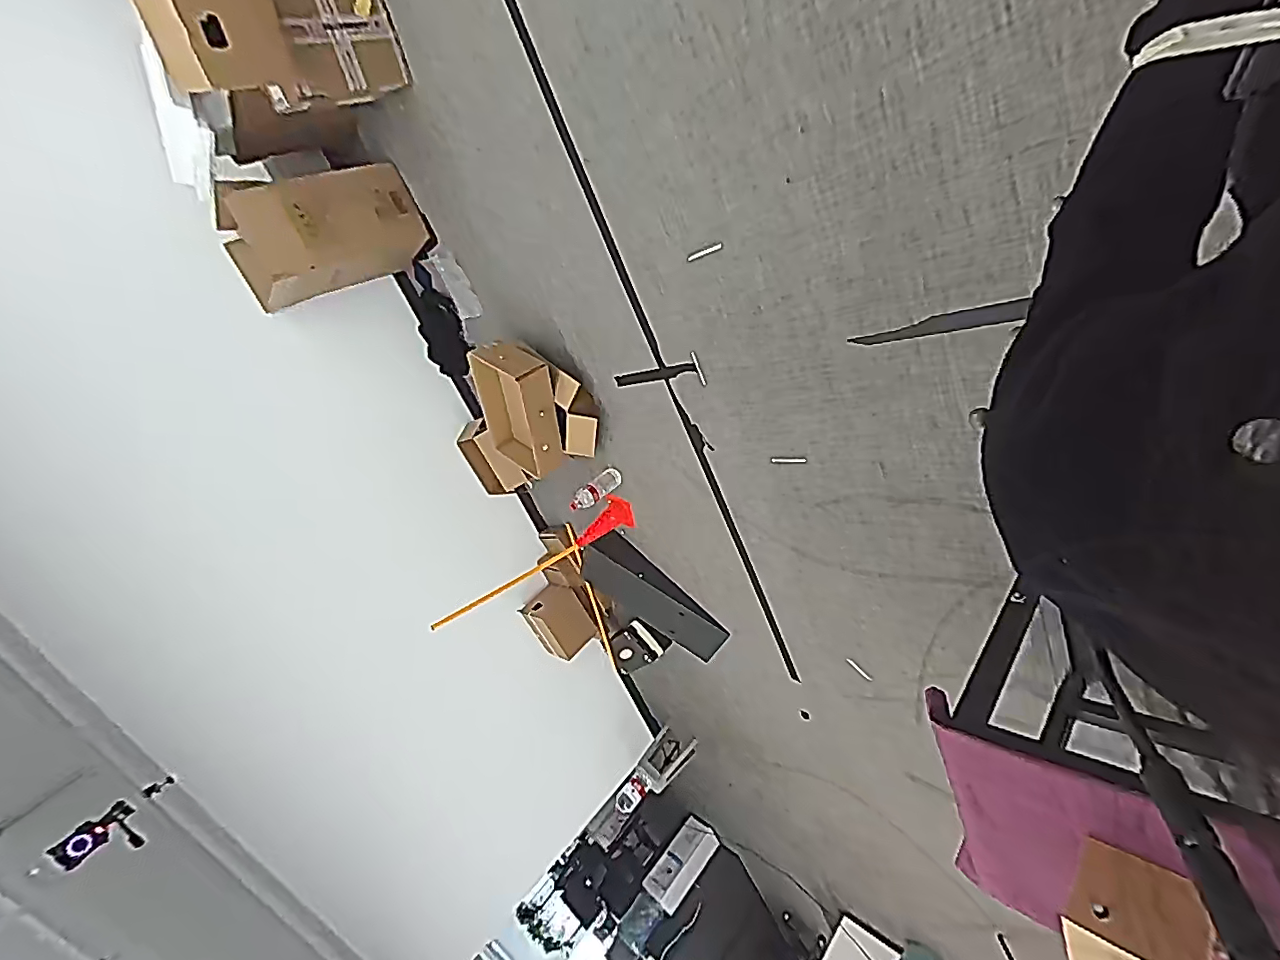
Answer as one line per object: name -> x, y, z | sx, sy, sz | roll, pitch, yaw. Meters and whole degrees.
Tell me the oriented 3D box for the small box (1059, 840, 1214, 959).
small box -> 0.874, 0.783, 0.952 | 0.179, 0.176, 0.168 | 4, 126, 50
